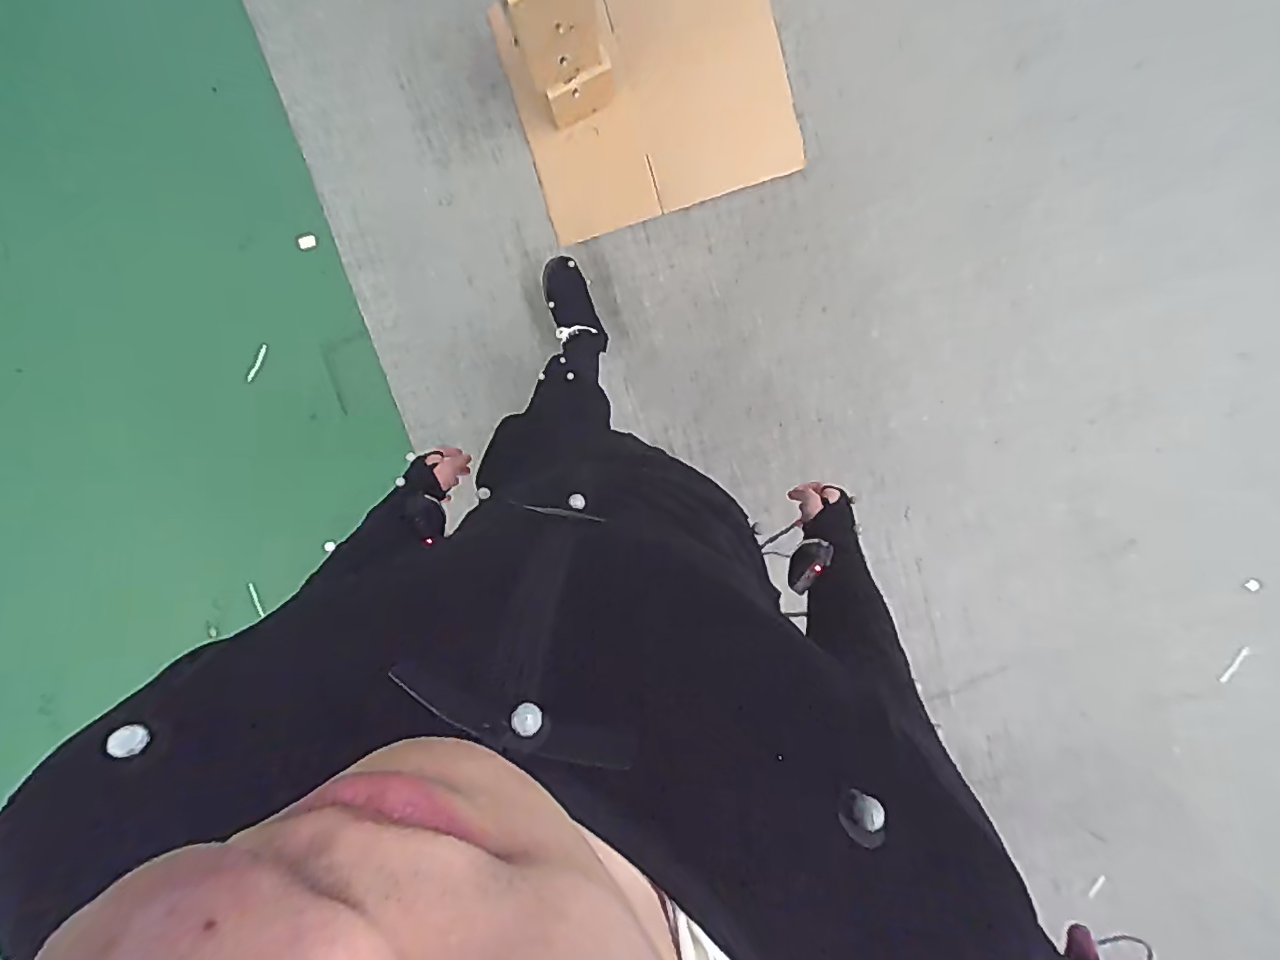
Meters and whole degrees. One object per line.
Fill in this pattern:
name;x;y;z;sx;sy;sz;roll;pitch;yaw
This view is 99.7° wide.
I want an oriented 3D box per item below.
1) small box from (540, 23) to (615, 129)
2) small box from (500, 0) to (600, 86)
small box;-0.169;-1.009;1.315;0.168;0.176;0.179;-24;99;5
small box;-0.194;-0.987;1.152;0.168;0.176;0.179;-23;99;4
